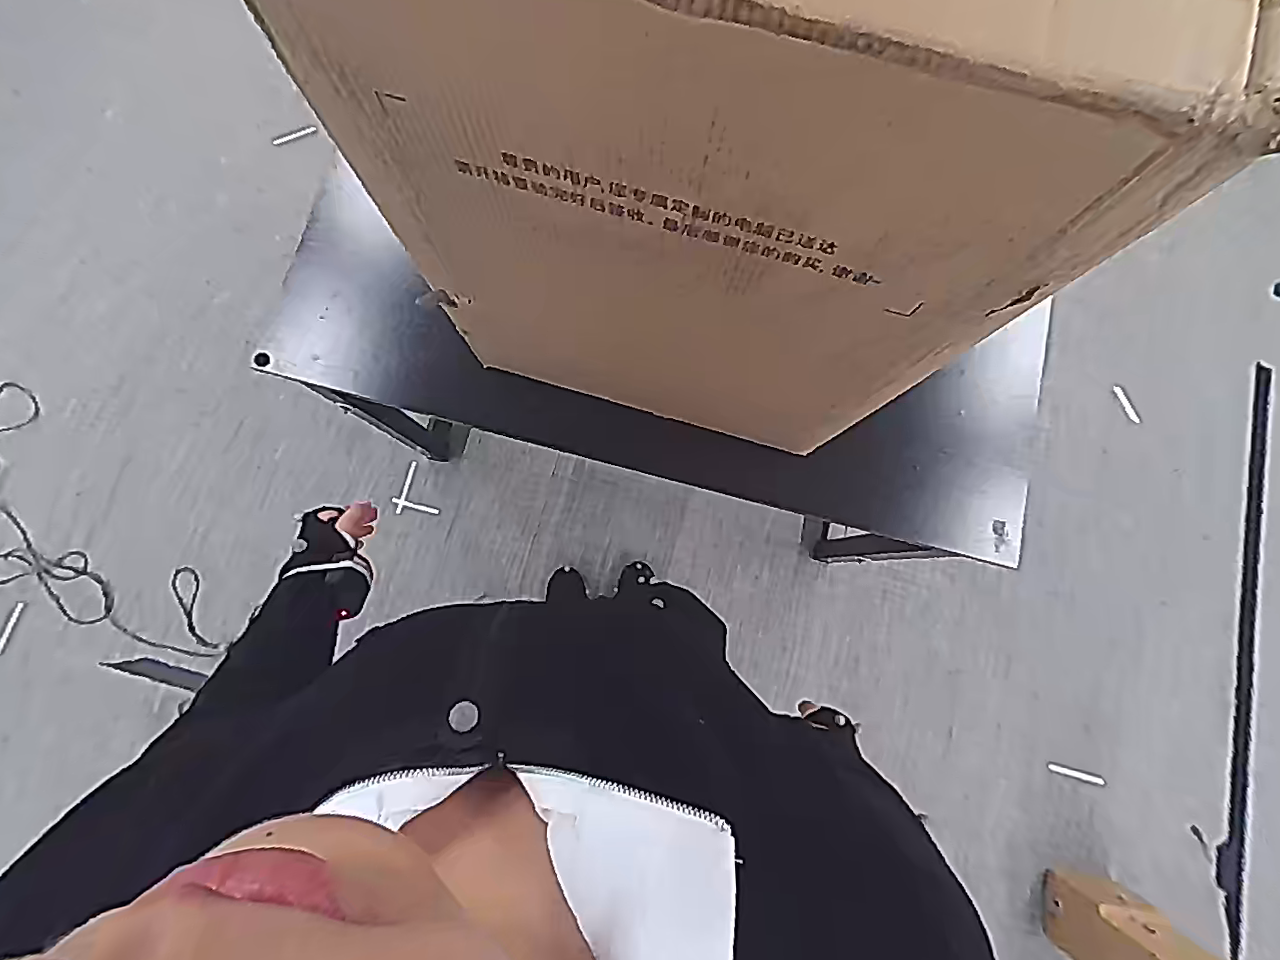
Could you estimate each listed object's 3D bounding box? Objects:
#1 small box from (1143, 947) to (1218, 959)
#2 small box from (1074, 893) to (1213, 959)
[{"bbox_3d":[1.171,1.100,1.099,0.179,0.176,0.168,8,80,0],"label":"small box"},{"bbox_3d":[1.170,1.109,1.263,0.179,0.176,0.168,8,80,1],"label":"small box"}]
